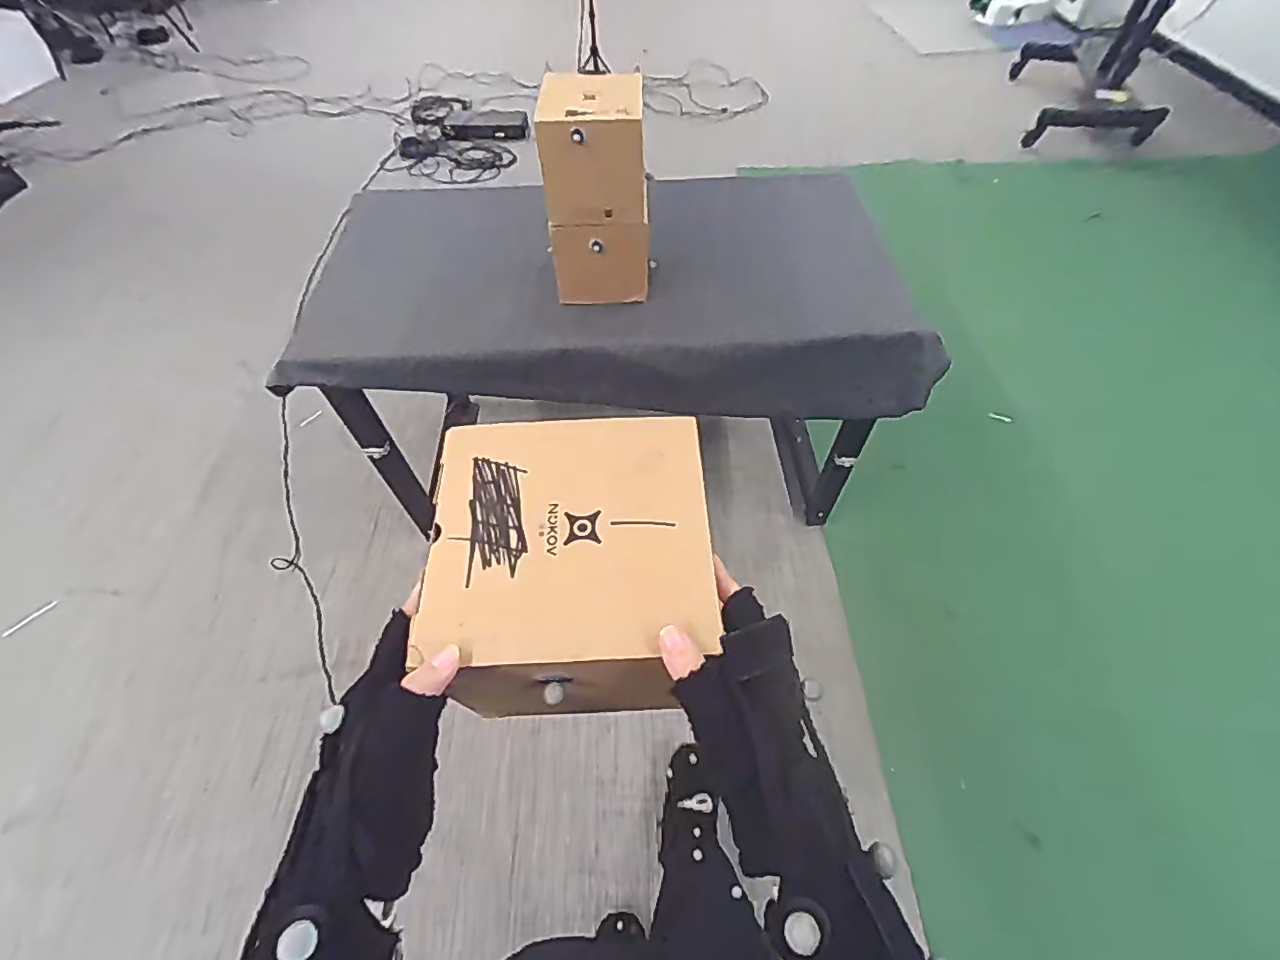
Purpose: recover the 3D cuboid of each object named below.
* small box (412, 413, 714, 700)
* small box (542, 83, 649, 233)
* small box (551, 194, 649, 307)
[{"bbox_3d":[-0.045,0.066,0.415,0.179,0.176,0.168,-2,58,-1],"label":"small box"},{"bbox_3d":[-0.071,-0.552,0.932,0.168,0.176,0.179,-1,56,-1],"label":"small box"},{"bbox_3d":[-0.071,-0.457,1.063,0.179,0.176,0.168,-1,55,0],"label":"small box"}]
